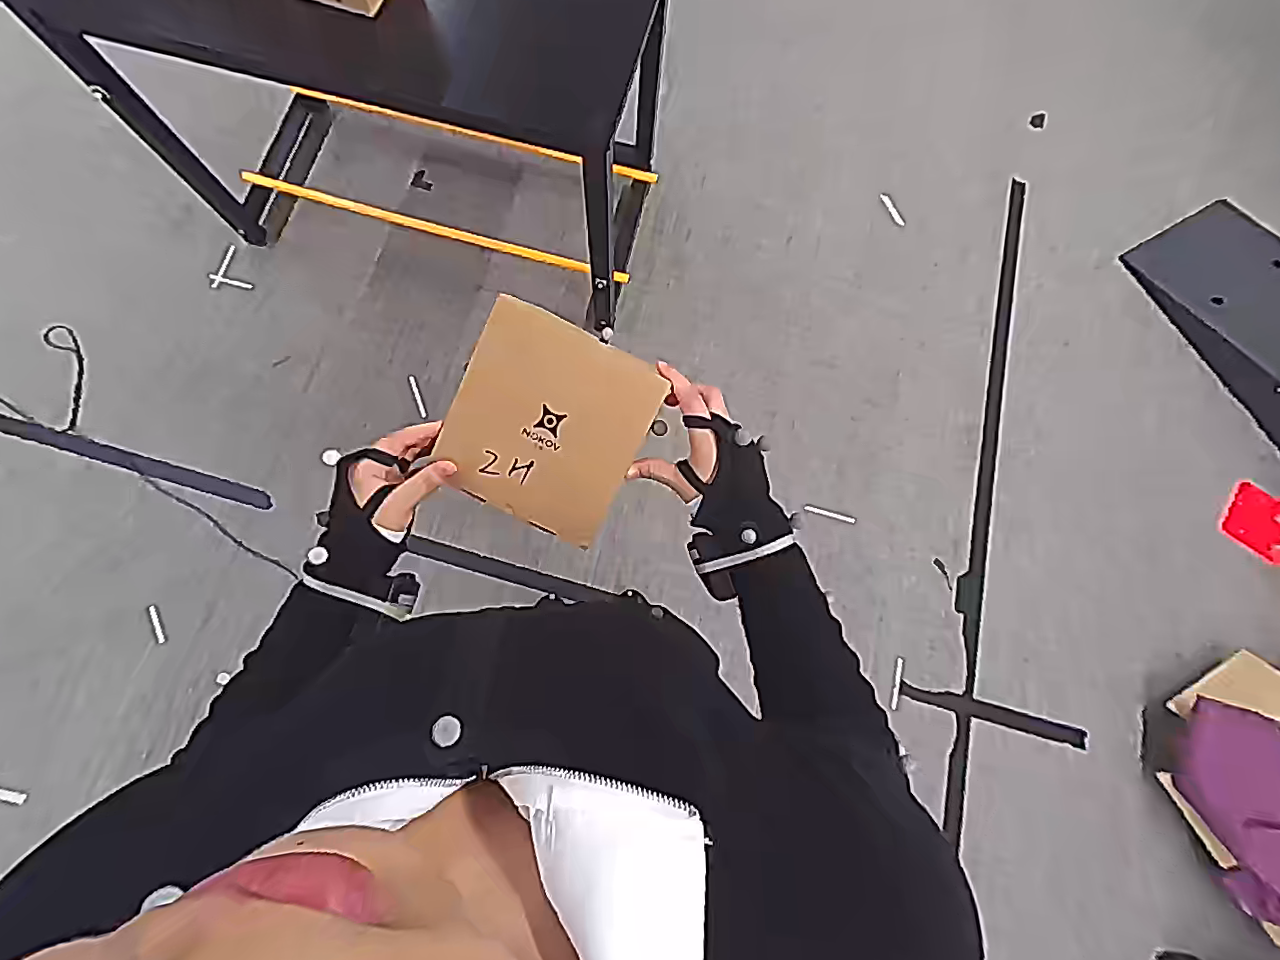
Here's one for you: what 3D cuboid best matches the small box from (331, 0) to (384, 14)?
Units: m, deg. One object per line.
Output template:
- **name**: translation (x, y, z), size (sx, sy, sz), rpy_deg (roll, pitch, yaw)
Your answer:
- **small box**: translation (-0.541, -0.984, 0.953), size (0.168, 0.176, 0.179), rpy_deg (17, 77, 1)
